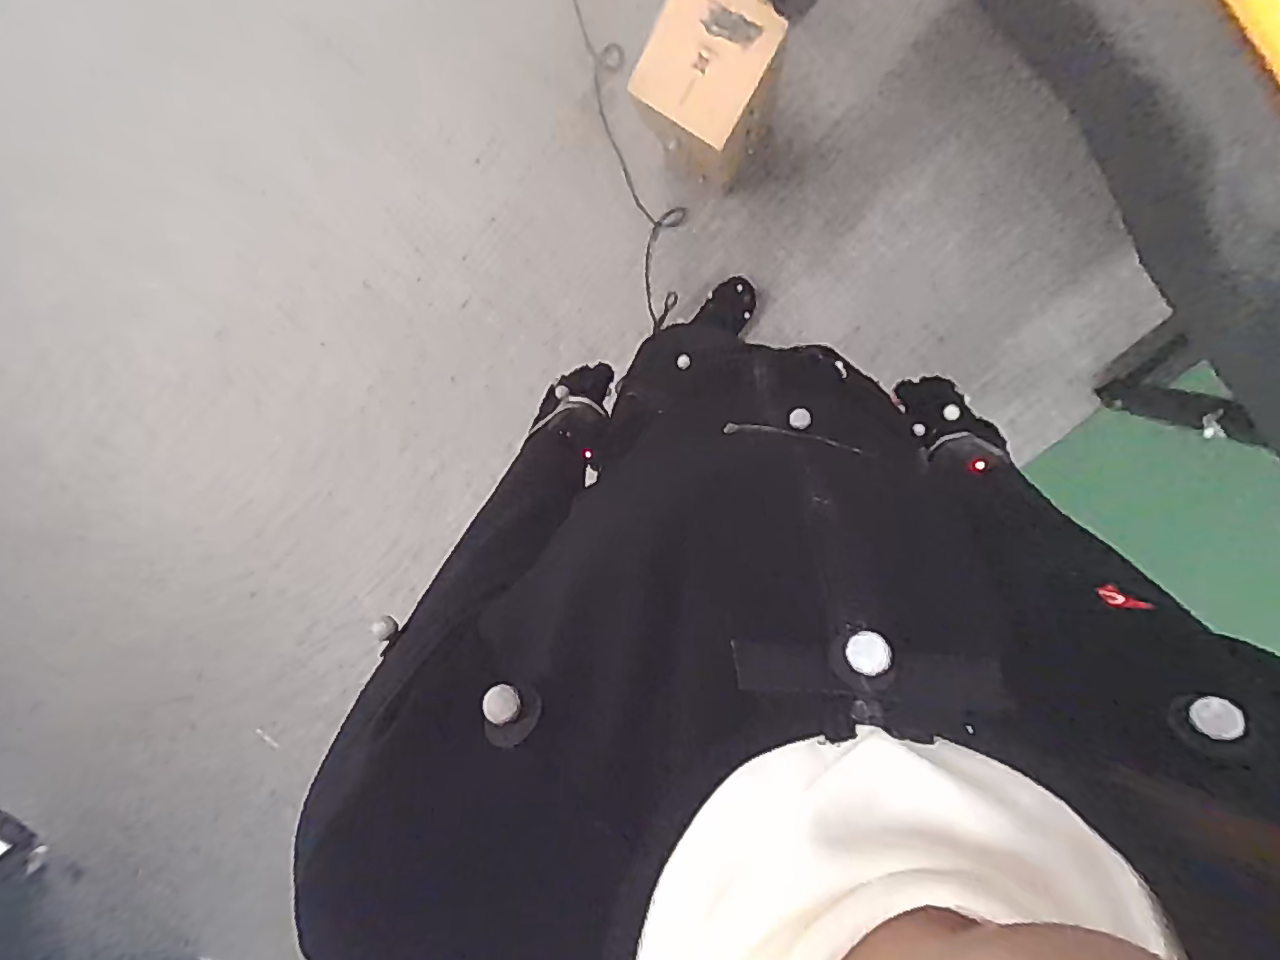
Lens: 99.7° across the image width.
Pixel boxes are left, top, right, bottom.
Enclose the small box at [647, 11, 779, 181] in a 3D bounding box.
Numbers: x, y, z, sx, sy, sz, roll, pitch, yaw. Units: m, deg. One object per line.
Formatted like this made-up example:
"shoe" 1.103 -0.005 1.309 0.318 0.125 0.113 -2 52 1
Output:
"small box" 0.136 -0.679 0.984 0.168 0.176 0.179 29 110 1
